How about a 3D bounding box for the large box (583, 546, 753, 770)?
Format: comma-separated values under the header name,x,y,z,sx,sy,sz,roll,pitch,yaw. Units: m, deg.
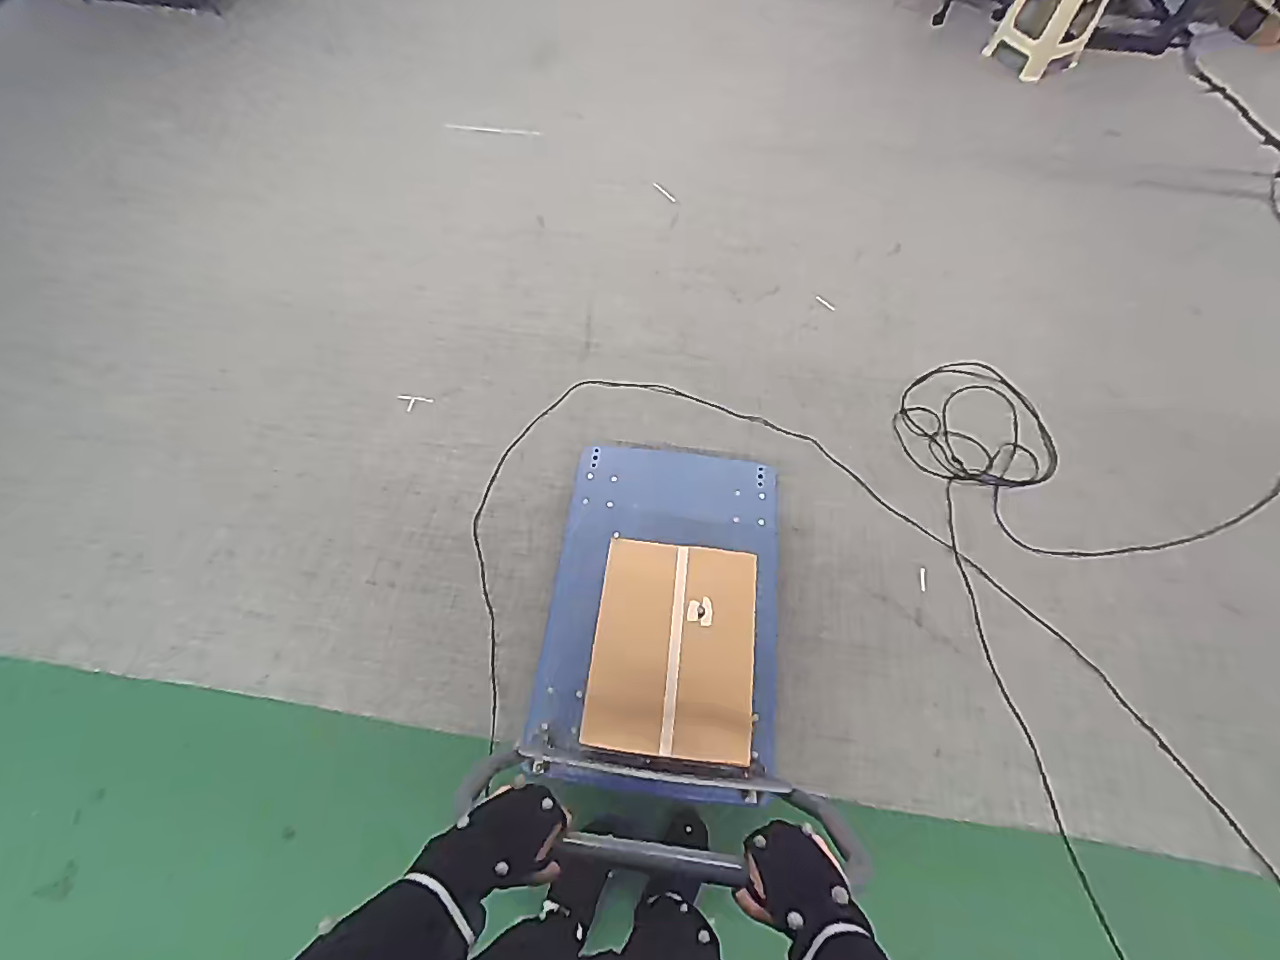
name,x,y,z,sx,sy,sz,roll,pitch,yaw
large box,0.066,0.399,1.192,0.320,0.320,0.408,7,63,2
